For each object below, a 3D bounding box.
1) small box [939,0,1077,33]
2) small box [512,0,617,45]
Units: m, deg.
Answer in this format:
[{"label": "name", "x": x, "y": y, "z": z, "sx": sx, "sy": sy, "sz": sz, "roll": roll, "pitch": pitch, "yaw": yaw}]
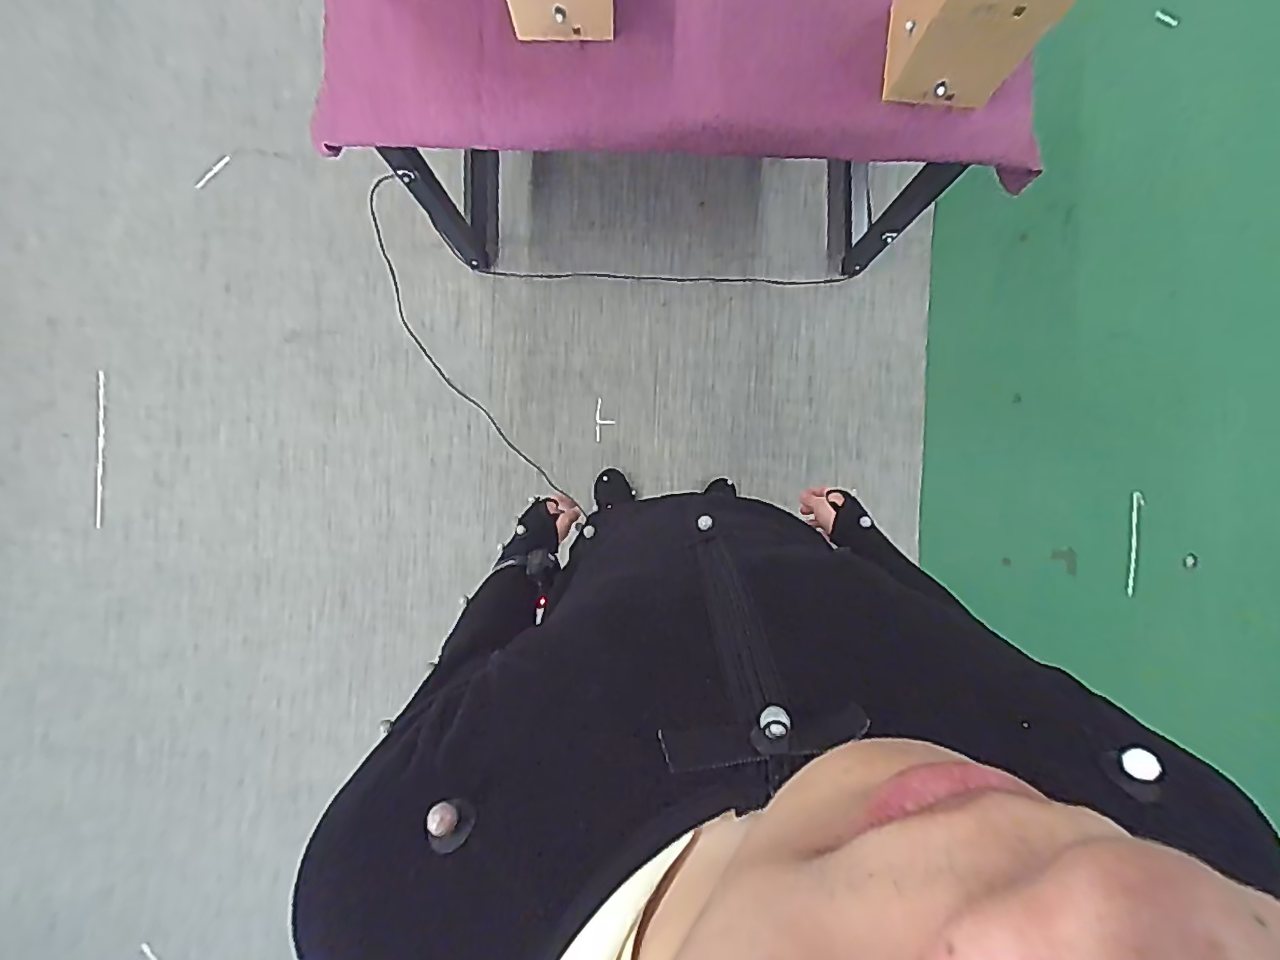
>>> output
[{"label": "small box", "x": 0.501, "y": -0.720, "z": 0.675, "sx": 0.168, "sy": 0.176, "sz": 0.179, "roll": 6, "pitch": 88, "yaw": 2}, {"label": "small box", "x": -0.123, "y": -0.836, "z": 0.846, "sx": 0.168, "sy": 0.176, "sz": 0.179, "roll": 1, "pitch": 90, "yaw": 1}]
